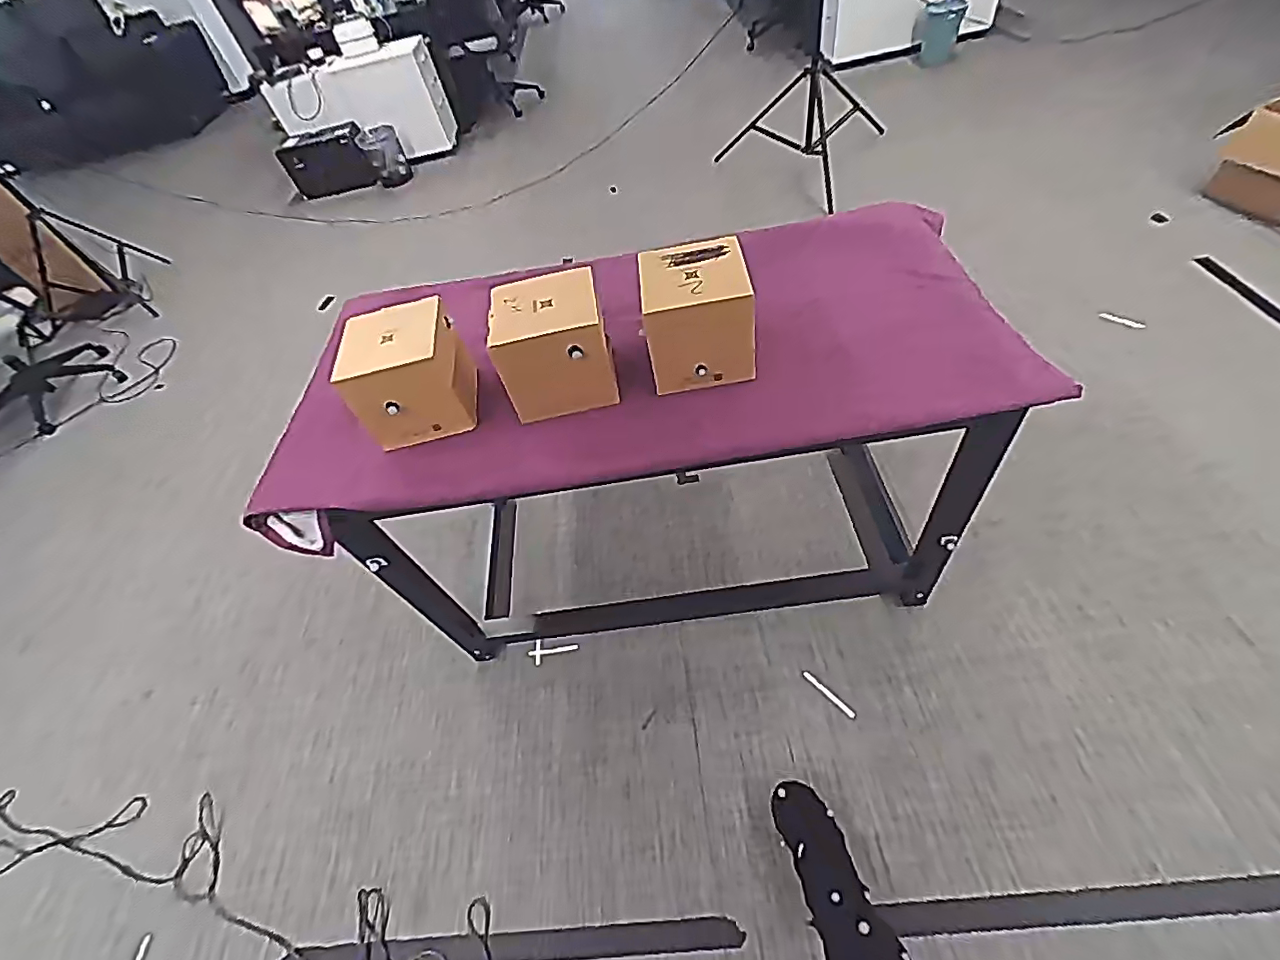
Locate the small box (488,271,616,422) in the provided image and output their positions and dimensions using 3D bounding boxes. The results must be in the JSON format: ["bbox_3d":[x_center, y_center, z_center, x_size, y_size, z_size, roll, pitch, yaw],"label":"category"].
[{"bbox_3d":[-0.142,-0.223,0.920,0.179,0.176,0.168,-12,50,2],"label":"small box"}]

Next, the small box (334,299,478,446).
[{"bbox_3d":[-0.393,-0.179,0.943,0.168,0.176,0.179,-14,50,1],"label":"small box"}]
